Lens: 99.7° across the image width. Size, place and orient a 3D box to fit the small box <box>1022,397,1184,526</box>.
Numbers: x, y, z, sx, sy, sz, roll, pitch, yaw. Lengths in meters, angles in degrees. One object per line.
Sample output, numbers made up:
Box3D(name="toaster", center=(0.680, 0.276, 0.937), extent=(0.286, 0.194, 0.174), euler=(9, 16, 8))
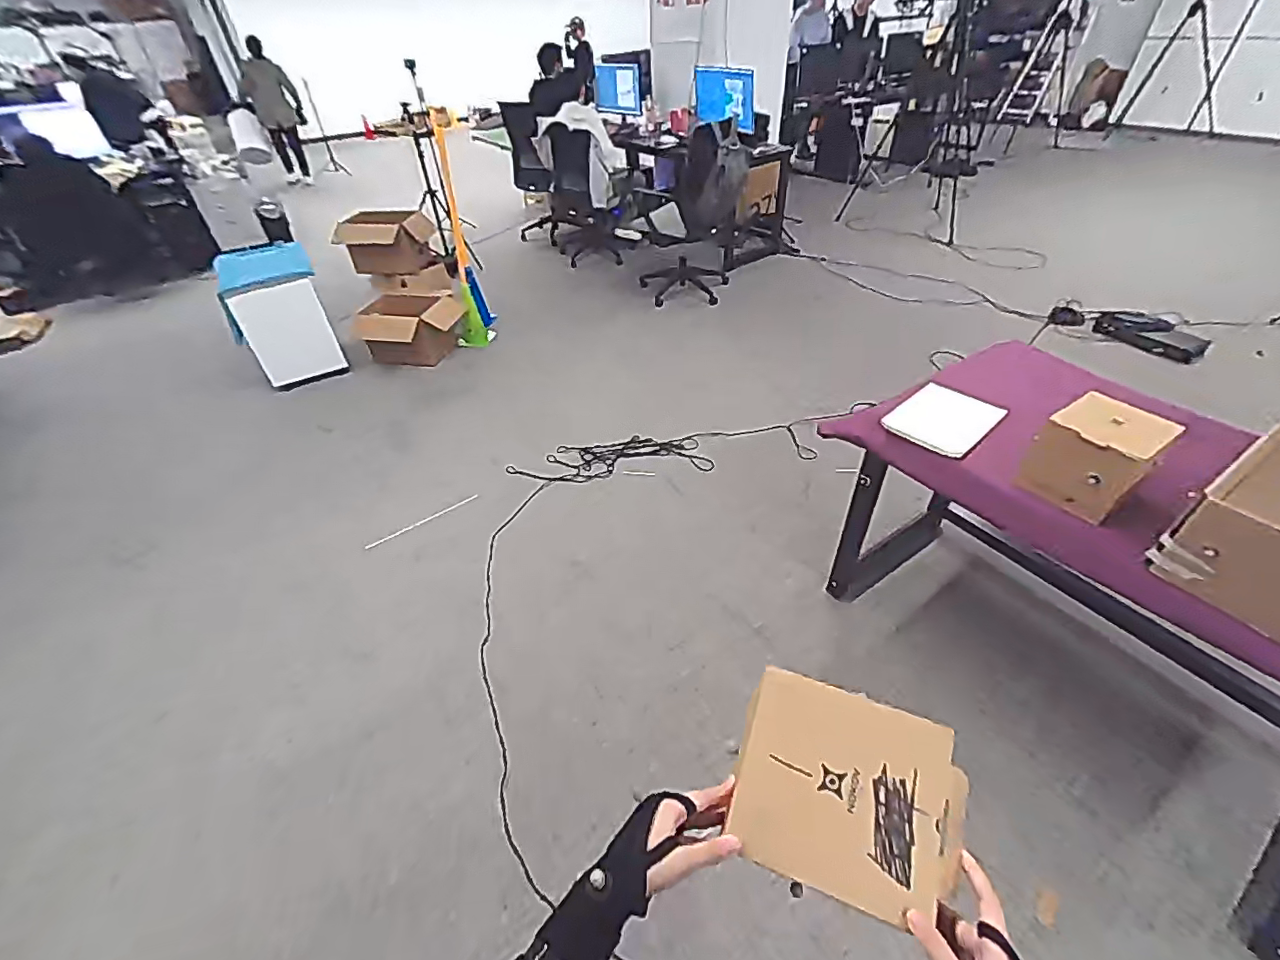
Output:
Box3D(name="small box", center=(0.910, -0.037, 1.082), extent=(0.179, 0.176, 0.168), euler=(-24, 45, -24))

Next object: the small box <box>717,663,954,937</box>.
Box3D(name="small box", center=(0.186, 0.310, 0.550), extent=(0.179, 0.176, 0.168), euler=(16, 62, 16))
